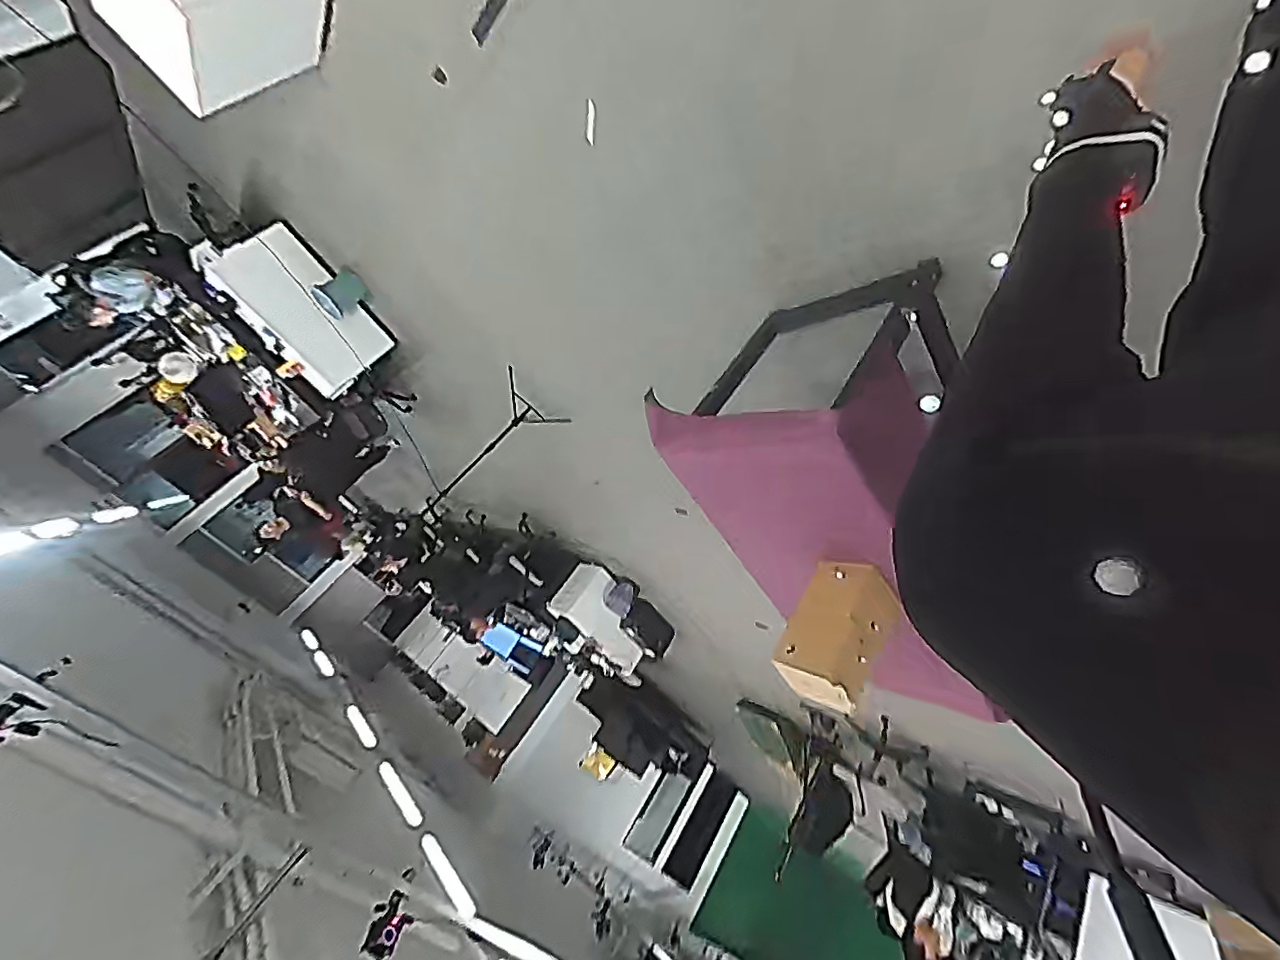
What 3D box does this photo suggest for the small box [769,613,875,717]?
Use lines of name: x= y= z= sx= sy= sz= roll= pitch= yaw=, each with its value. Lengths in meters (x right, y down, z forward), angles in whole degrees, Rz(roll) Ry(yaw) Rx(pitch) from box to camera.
small box: x=0.471 y=0.467 z=1.392 sx=0.179 sy=0.176 sz=0.168 roll=1 pitch=136 yaw=51

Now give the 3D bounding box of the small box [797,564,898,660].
small box: x=0.565 y=0.351 z=1.461 sx=0.179 sy=0.176 sz=0.168 roll=50 pitch=151 yaw=-21
